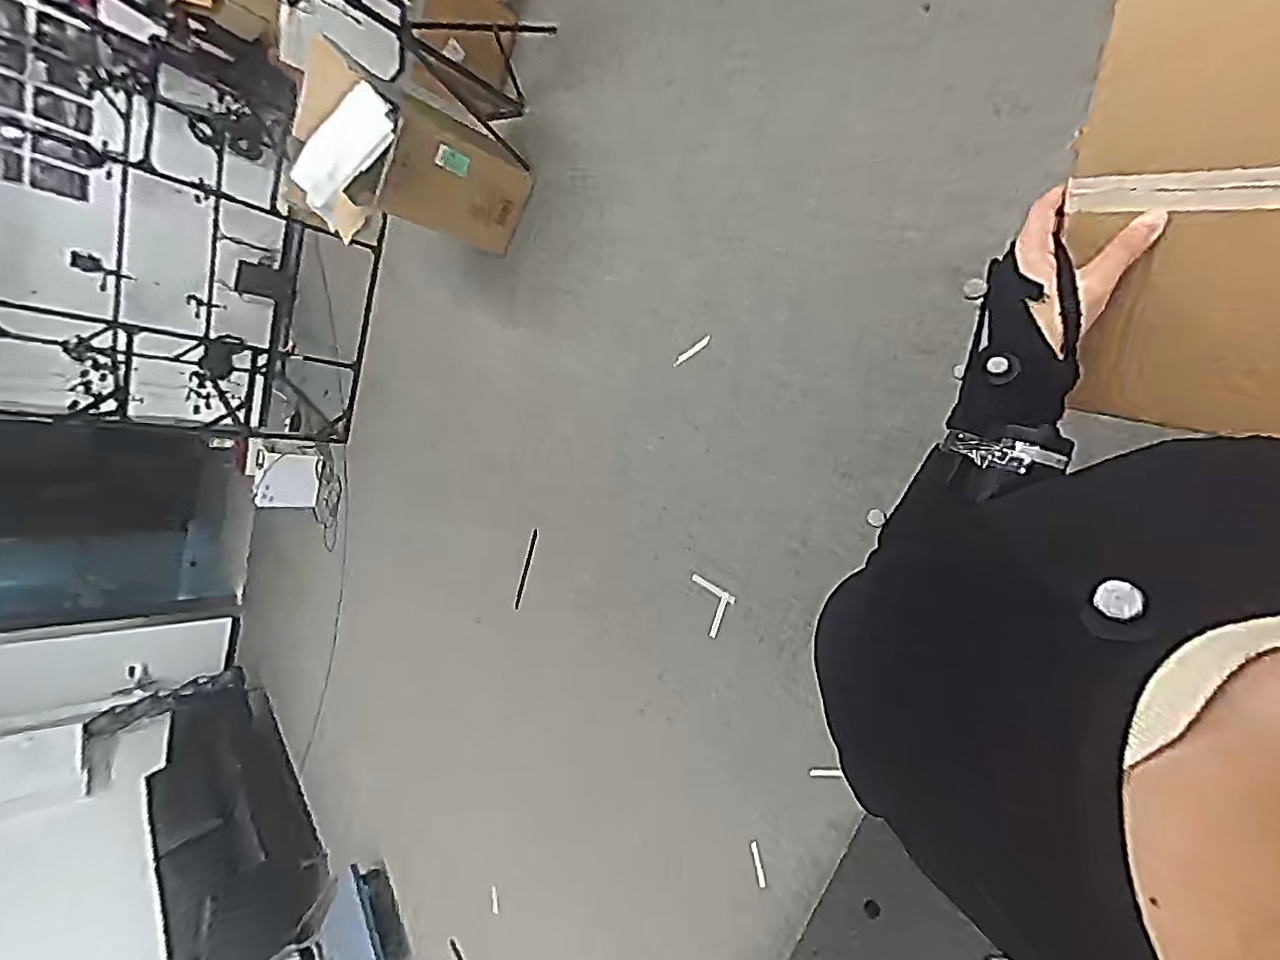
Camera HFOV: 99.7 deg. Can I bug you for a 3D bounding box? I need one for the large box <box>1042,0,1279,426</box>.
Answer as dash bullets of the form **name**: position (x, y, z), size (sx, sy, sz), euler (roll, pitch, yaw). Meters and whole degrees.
- **large box**: position (0.540, -0.218, 0.312), size (0.408, 0.320, 0.320), euler (22, 138, 42)
